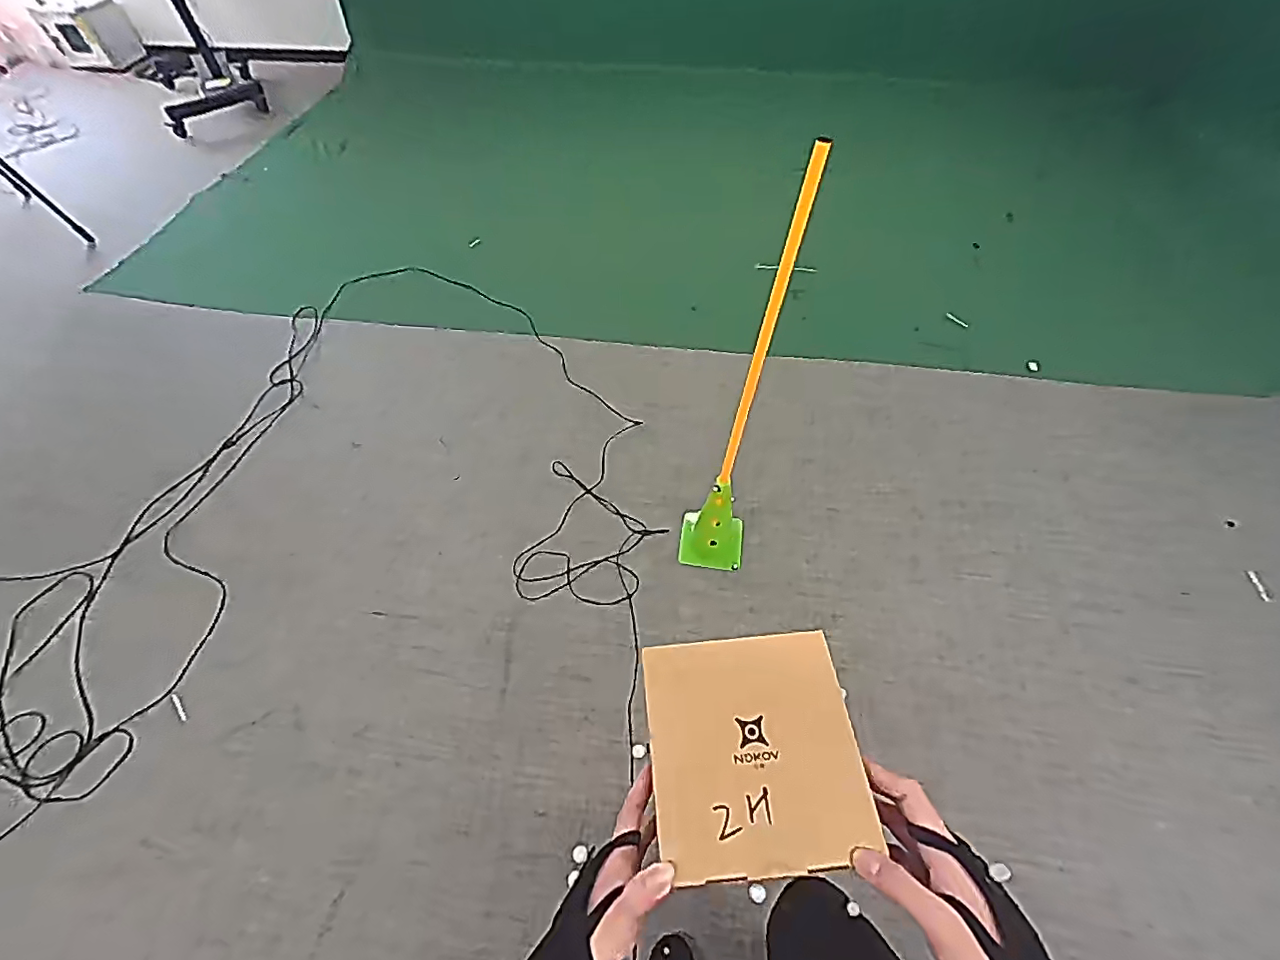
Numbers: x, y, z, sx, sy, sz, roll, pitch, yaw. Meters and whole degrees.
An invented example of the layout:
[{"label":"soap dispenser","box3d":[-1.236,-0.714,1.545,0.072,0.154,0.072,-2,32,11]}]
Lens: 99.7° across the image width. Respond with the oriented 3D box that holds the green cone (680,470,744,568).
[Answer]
[{"label":"green cone","box3d":[0.233,0.090,1.638,0.202,0.368,0.200,6,54,7]}]
